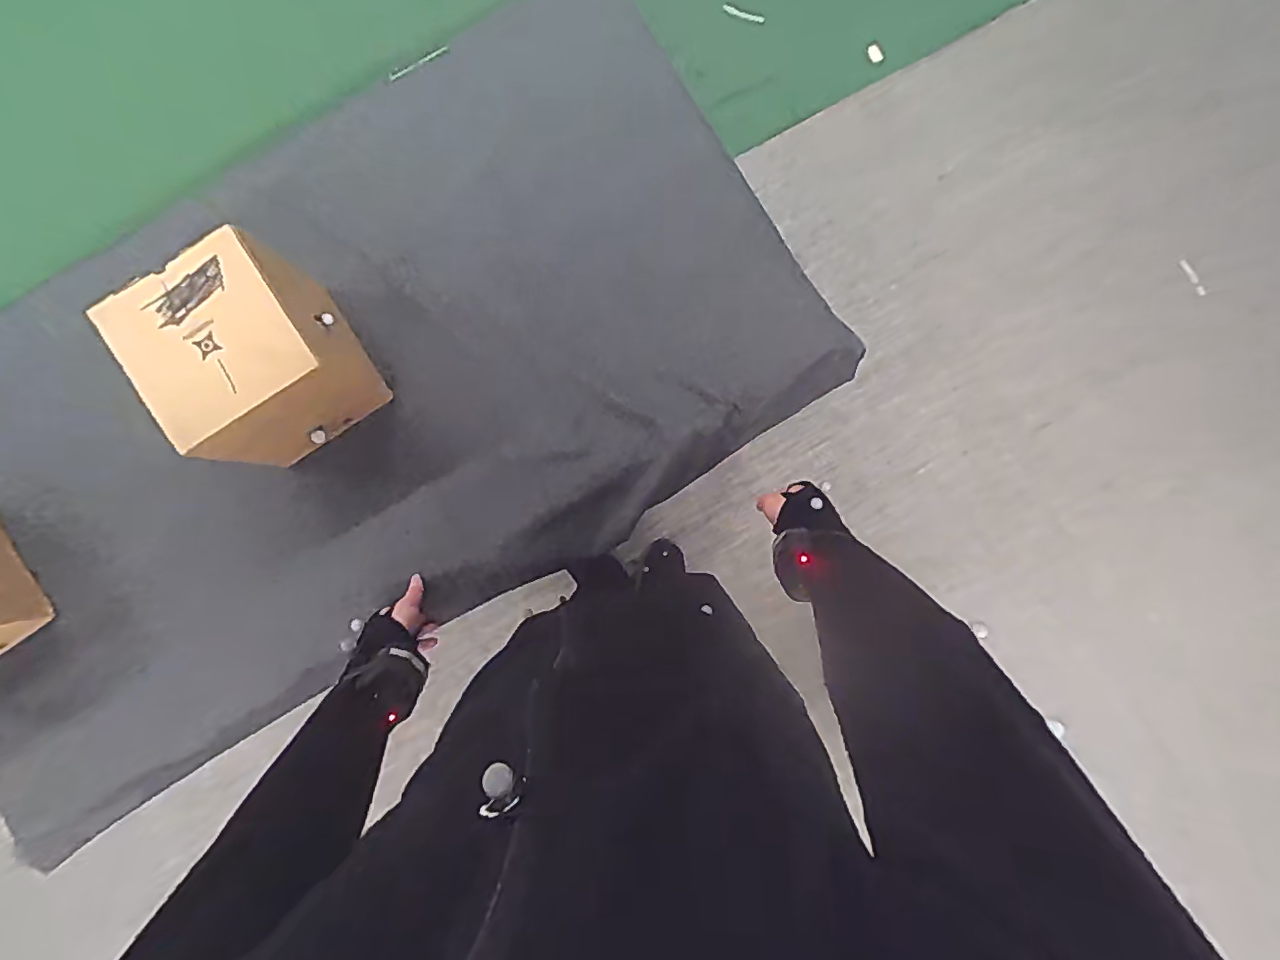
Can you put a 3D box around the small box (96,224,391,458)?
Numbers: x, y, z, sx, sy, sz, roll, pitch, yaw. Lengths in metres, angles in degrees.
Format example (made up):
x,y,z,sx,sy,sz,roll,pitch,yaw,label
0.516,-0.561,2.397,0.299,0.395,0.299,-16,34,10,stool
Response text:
x,y,z,sx,sy,sz,roll,pitch,yaw,label
-0.428,-0.140,0.616,0.168,0.176,0.179,-34,89,-1,small box

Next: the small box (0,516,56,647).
x,y,z,sx,sy,sz,roll,pitch,yaw,label
-0.843,0.138,0.606,0.168,0.176,0.179,-36,88,-2,small box
